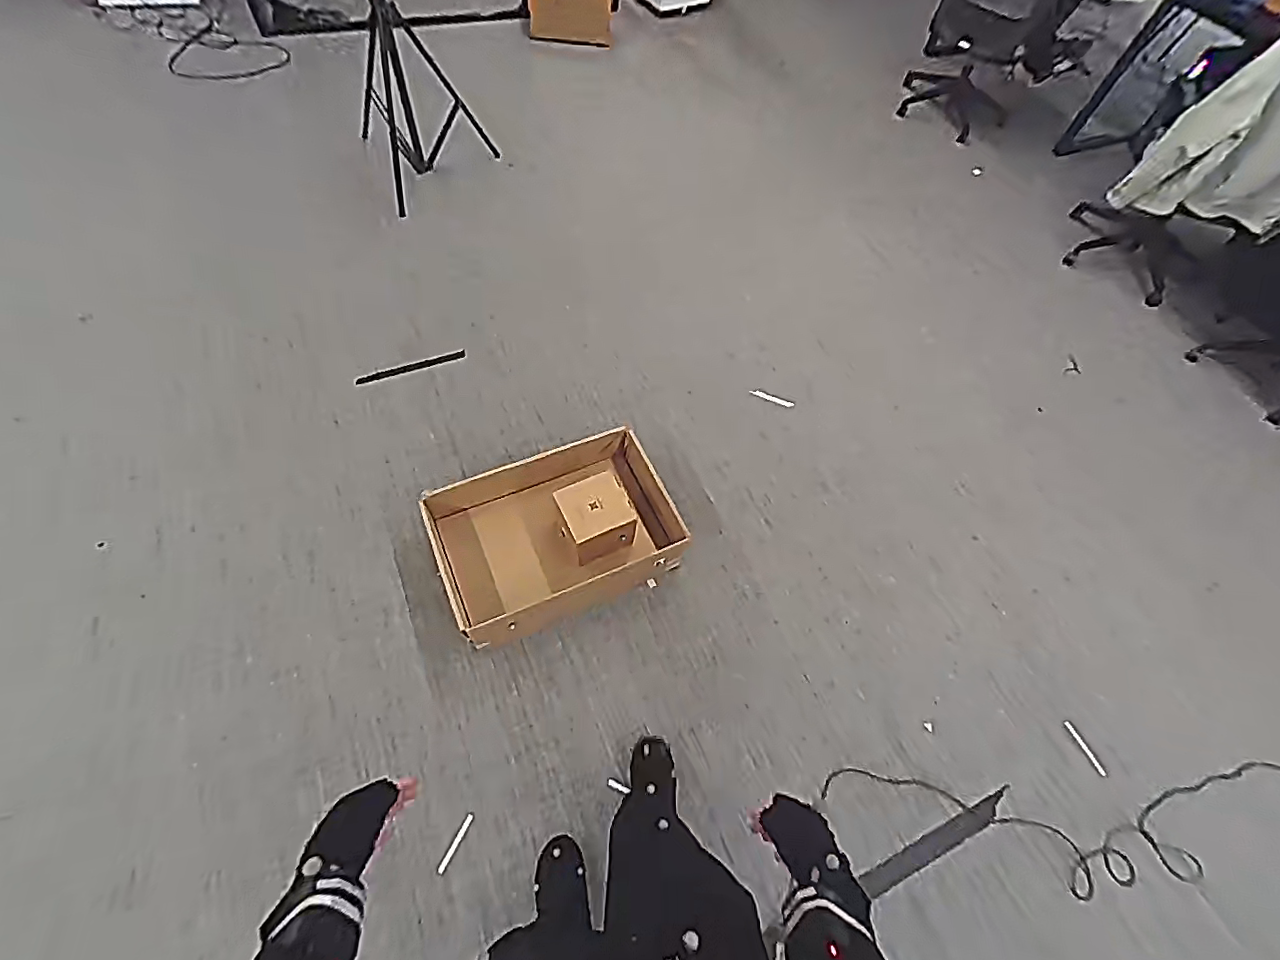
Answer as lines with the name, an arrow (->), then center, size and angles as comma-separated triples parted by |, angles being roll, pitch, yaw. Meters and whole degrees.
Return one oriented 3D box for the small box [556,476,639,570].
small box -> -0.120, 0.123, 1.491 | 0.179, 0.176, 0.168 | -23, 64, -17
